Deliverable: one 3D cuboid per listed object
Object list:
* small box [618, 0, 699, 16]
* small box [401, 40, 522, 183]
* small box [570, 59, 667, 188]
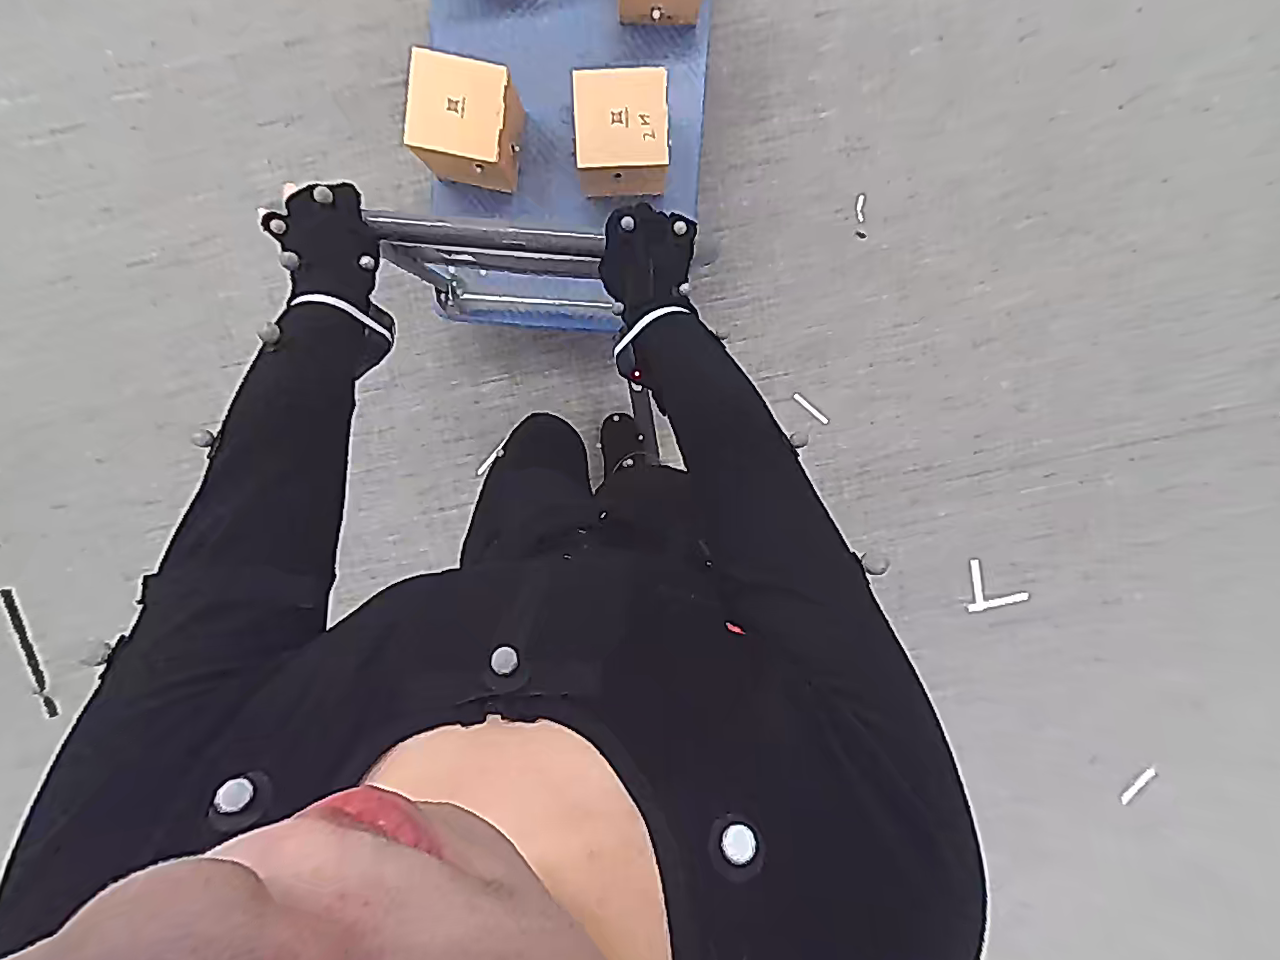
[{"bbox_3d":[0.037,-1.015,1.002,0.168,0.176,0.179,1,102,-1],"label":"small box"},{"bbox_3d":[-0.341,-0.707,1.059,0.179,0.176,0.168,9,100,-4],"label":"small box"},{"bbox_3d":[-0.038,-0.691,1.066,0.179,0.176,0.168,-2,102,-1],"label":"small box"}]
